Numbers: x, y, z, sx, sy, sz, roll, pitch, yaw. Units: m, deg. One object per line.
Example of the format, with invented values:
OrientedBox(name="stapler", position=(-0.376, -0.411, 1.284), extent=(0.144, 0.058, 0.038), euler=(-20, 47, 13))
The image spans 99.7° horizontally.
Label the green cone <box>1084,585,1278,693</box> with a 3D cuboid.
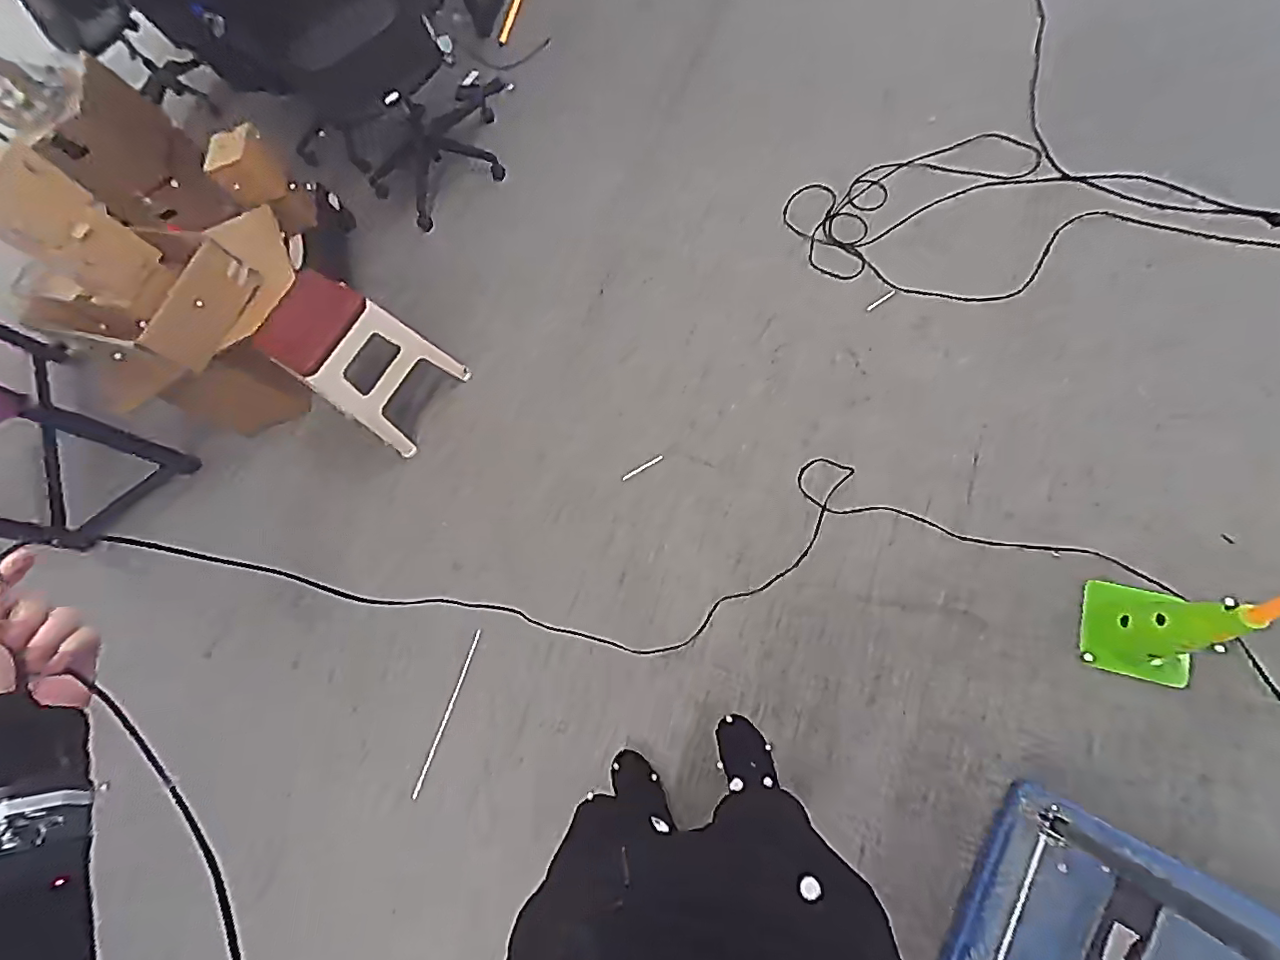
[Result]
OrientedBox(name="green cone", position=(1.068, 0.288, 1.045), extent=(0.200, 0.368, 0.202), euler=(11, 73, 19))
